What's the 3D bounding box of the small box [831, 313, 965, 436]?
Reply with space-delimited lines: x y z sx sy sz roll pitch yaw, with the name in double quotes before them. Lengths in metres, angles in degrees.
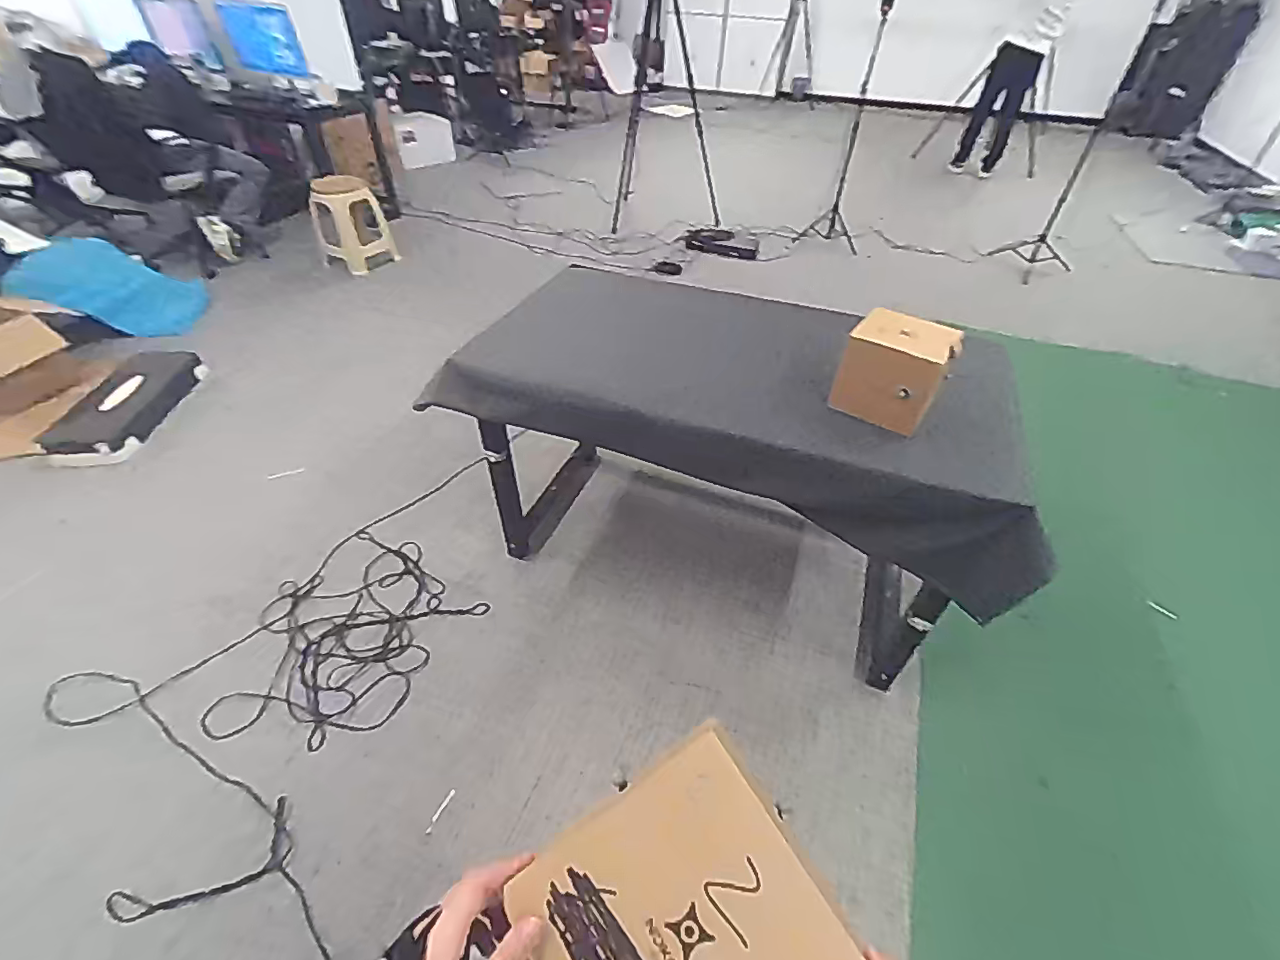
"small box" 0.515 -0.210 1.093 0.179 0.176 0.168 26 47 26
